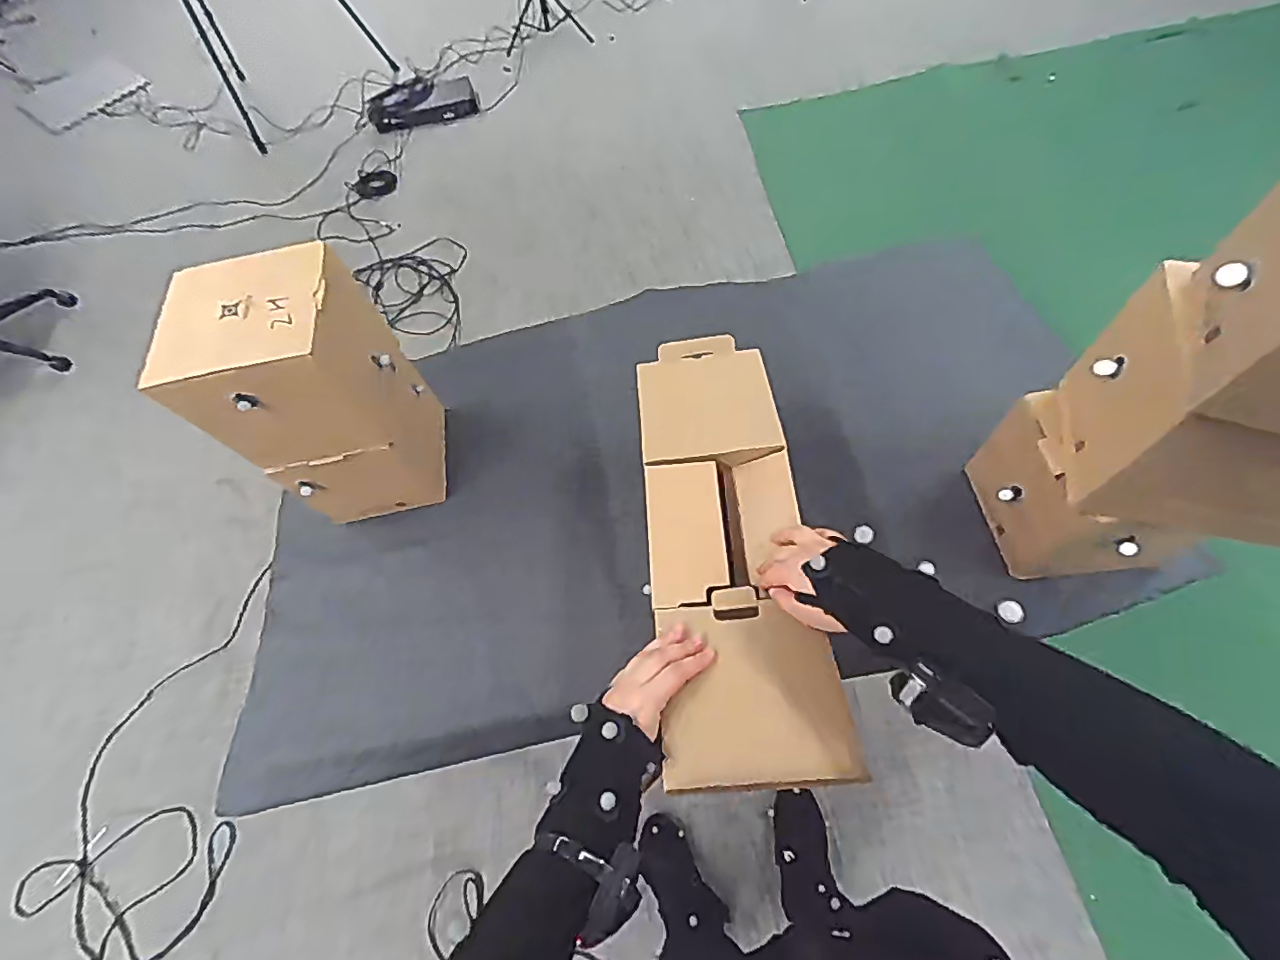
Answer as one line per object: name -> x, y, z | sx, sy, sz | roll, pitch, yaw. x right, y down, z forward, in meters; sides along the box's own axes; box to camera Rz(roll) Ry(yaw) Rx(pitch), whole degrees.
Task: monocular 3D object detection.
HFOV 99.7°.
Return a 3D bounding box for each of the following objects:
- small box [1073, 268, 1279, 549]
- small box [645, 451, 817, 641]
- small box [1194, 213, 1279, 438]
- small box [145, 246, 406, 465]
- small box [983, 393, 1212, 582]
small box -> 0.520, -0.056, 0.476 | 0.179, 0.176, 0.168 | 12, 63, 13
small box -> 0.101, 0.088, 0.644 | 0.168, 0.176, 0.179 | -6, 62, 4
small box -> 0.503, -0.116, 0.322 | 0.179, 0.176, 0.168 | 22, 65, 19
small box -> -0.400, -0.134, 0.629 | 0.179, 0.176, 0.168 | -11, 63, 1
small box -> 0.533, 0.010, 0.626 | 0.179, 0.176, 0.168 | -7, 60, 4
